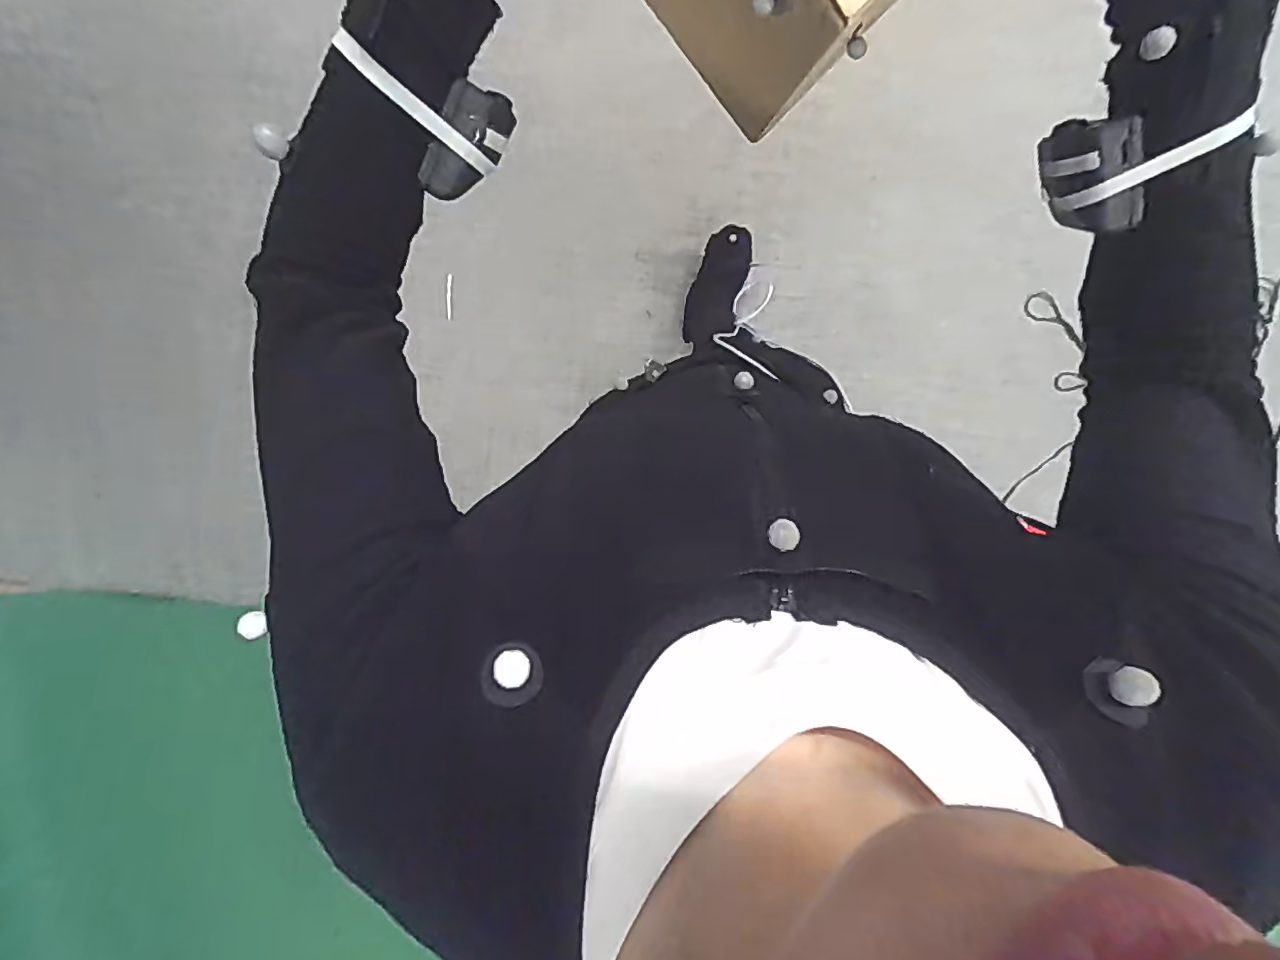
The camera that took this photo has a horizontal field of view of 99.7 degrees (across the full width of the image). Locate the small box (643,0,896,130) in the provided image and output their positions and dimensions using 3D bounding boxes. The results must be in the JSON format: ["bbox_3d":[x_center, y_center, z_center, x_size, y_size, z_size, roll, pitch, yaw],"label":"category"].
[{"bbox_3d":[0.093,-0.360,0.320,0.168,0.176,0.179,-43,105,6],"label":"small box"}]
